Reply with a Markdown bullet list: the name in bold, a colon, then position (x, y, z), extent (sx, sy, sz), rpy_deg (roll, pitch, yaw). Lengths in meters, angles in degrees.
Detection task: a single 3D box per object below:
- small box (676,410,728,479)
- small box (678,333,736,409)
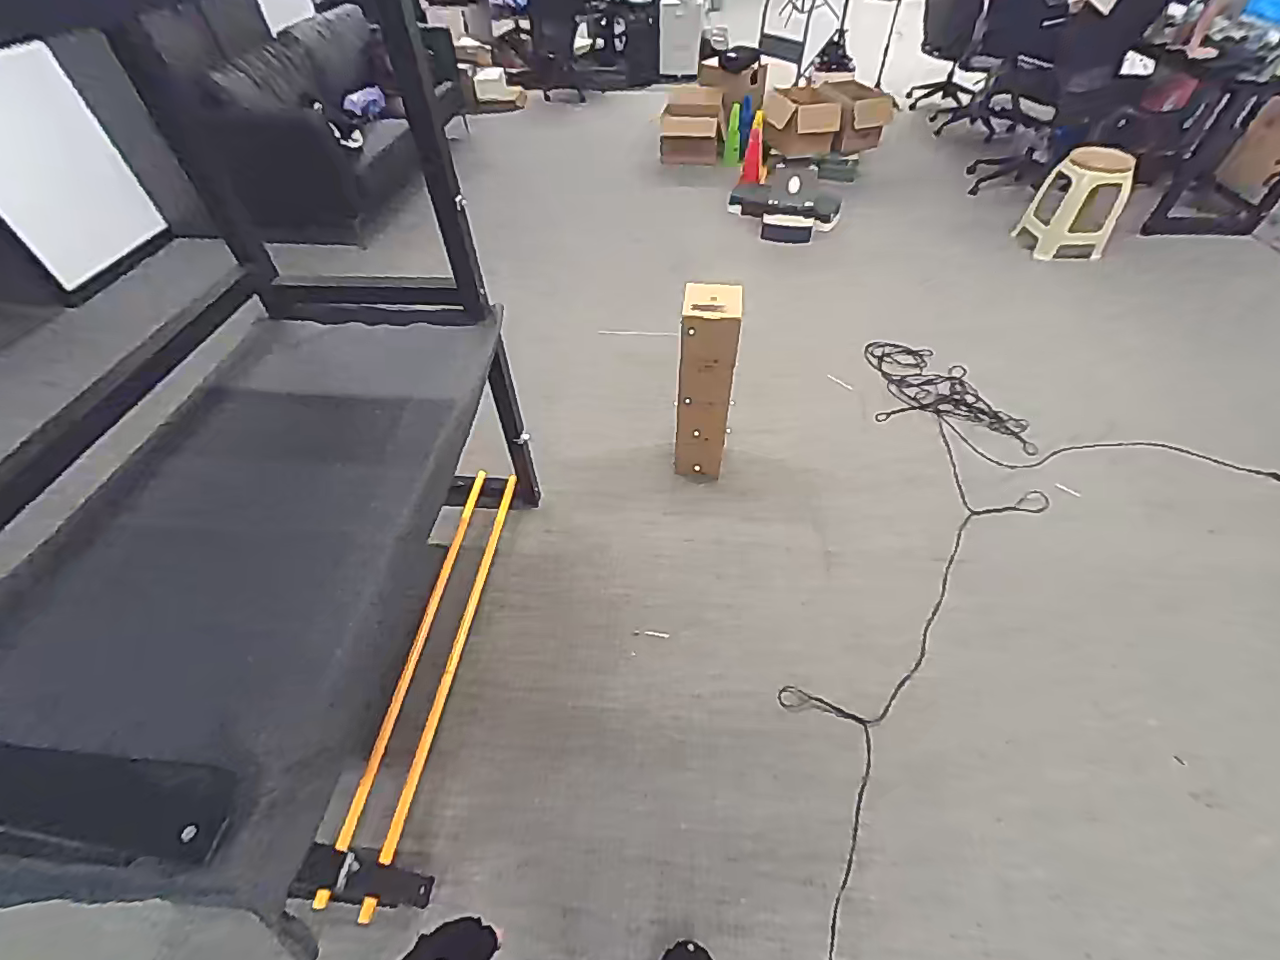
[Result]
- **small box**: position (0.224, -0.129, 1.969), extent (0.168, 0.176, 0.179), rpy_deg (7, 50, 9)
- **small box**: position (0.213, -0.345, 1.725), extent (0.168, 0.176, 0.179), rpy_deg (6, 49, 7)
